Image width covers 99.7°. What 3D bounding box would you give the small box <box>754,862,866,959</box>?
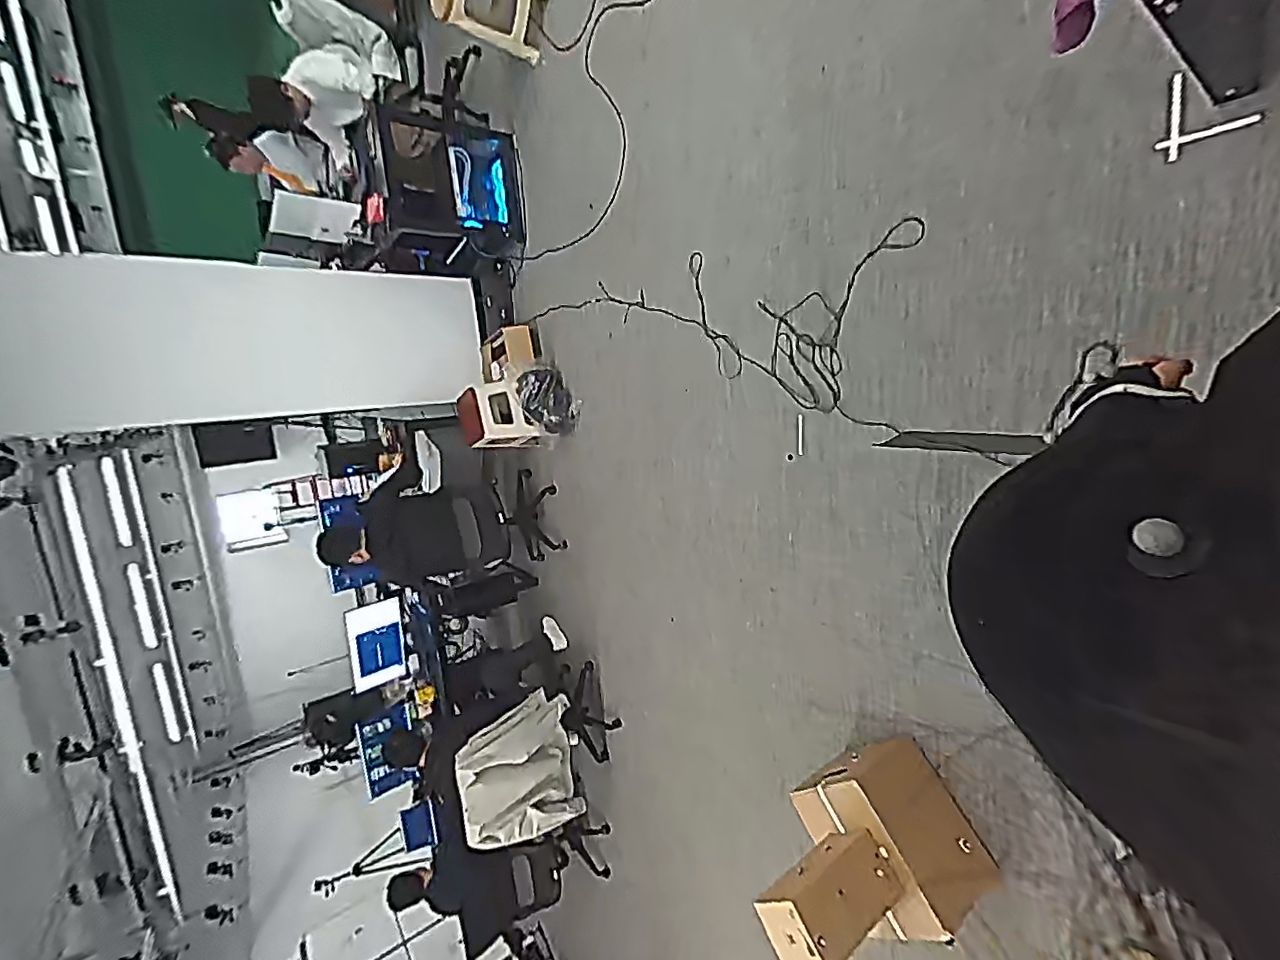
[{"bbox_3d":[0.435,1.115,1.386,0.168,0.176,0.179,61,142,23],"label":"small box"}]

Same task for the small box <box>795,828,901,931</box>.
[{"bbox_3d":[0.569,1.087,1.478,0.168,0.176,0.179,61,141,23],"label":"small box"}]
